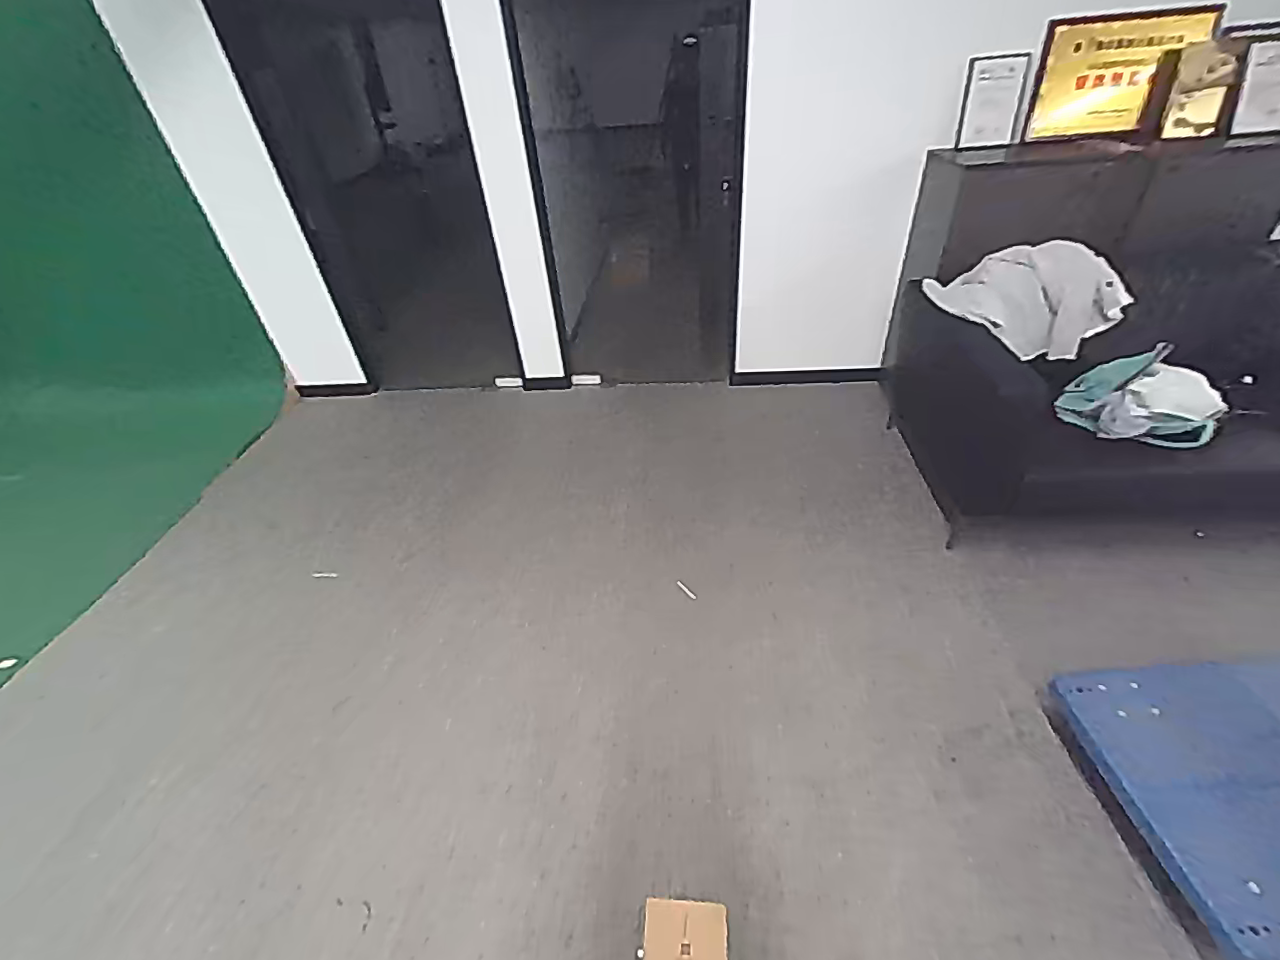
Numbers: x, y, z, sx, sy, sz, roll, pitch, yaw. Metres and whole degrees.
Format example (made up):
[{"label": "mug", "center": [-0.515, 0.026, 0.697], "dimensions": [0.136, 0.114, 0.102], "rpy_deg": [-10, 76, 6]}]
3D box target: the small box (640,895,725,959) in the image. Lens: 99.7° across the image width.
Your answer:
[{"label": "small box", "center": [0.088, 0.977, 1.092], "dimensions": [0.168, 0.176, 0.179], "rpy_deg": [1, 38, 7]}]
